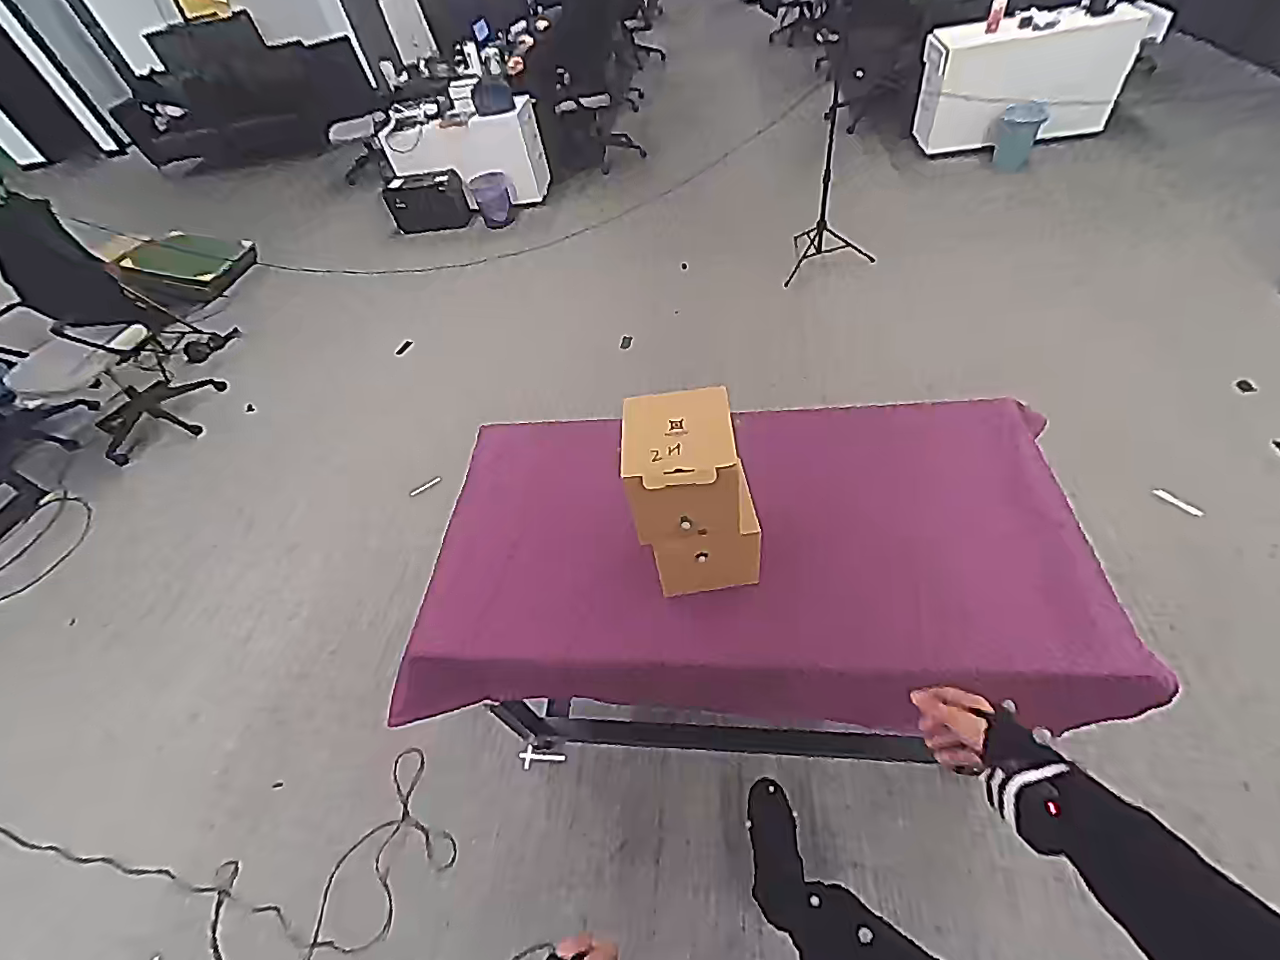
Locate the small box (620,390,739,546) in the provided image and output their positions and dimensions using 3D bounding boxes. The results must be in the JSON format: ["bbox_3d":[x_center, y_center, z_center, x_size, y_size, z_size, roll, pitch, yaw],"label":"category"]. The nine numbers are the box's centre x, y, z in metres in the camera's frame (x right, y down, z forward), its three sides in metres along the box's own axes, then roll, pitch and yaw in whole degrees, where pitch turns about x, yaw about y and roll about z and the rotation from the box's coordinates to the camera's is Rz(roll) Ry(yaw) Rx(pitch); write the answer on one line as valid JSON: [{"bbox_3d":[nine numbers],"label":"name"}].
[{"bbox_3d":[0.066,-0.016,0.861,0.168,0.176,0.179,-6,49,7],"label":"small box"}]

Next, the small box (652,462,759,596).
[{"bbox_3d":[0.112,0.094,0.977,0.179,0.176,0.168,-9,49,3],"label":"small box"}]
